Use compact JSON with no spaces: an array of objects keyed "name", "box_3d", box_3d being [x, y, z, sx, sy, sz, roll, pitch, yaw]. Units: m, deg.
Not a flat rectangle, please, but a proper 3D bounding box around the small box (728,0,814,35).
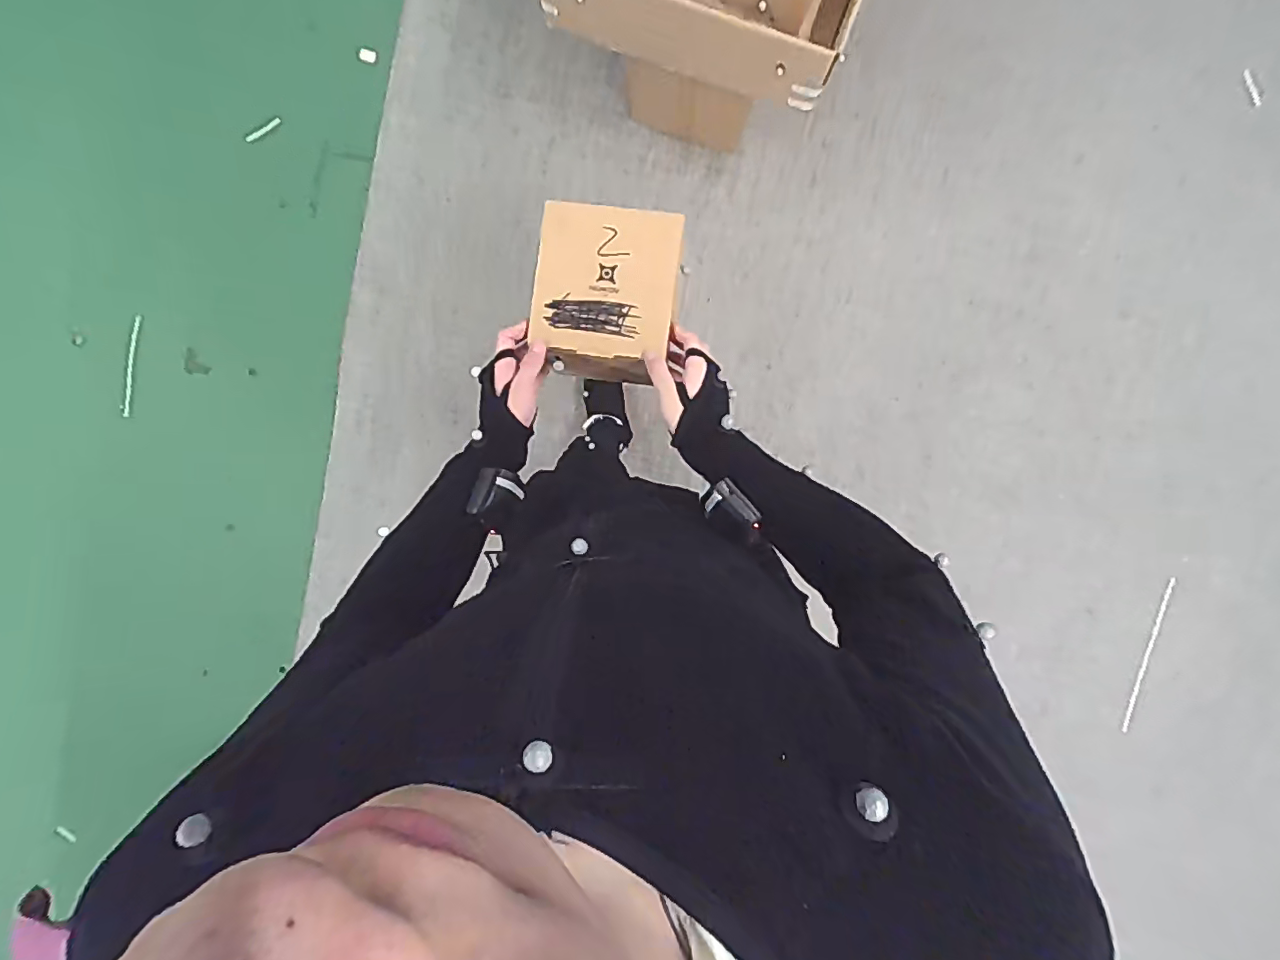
[{"name":"small box","box_3d":[0.270,-0.985,0.989,0.168,0.176,0.179,24,97,0]}]
